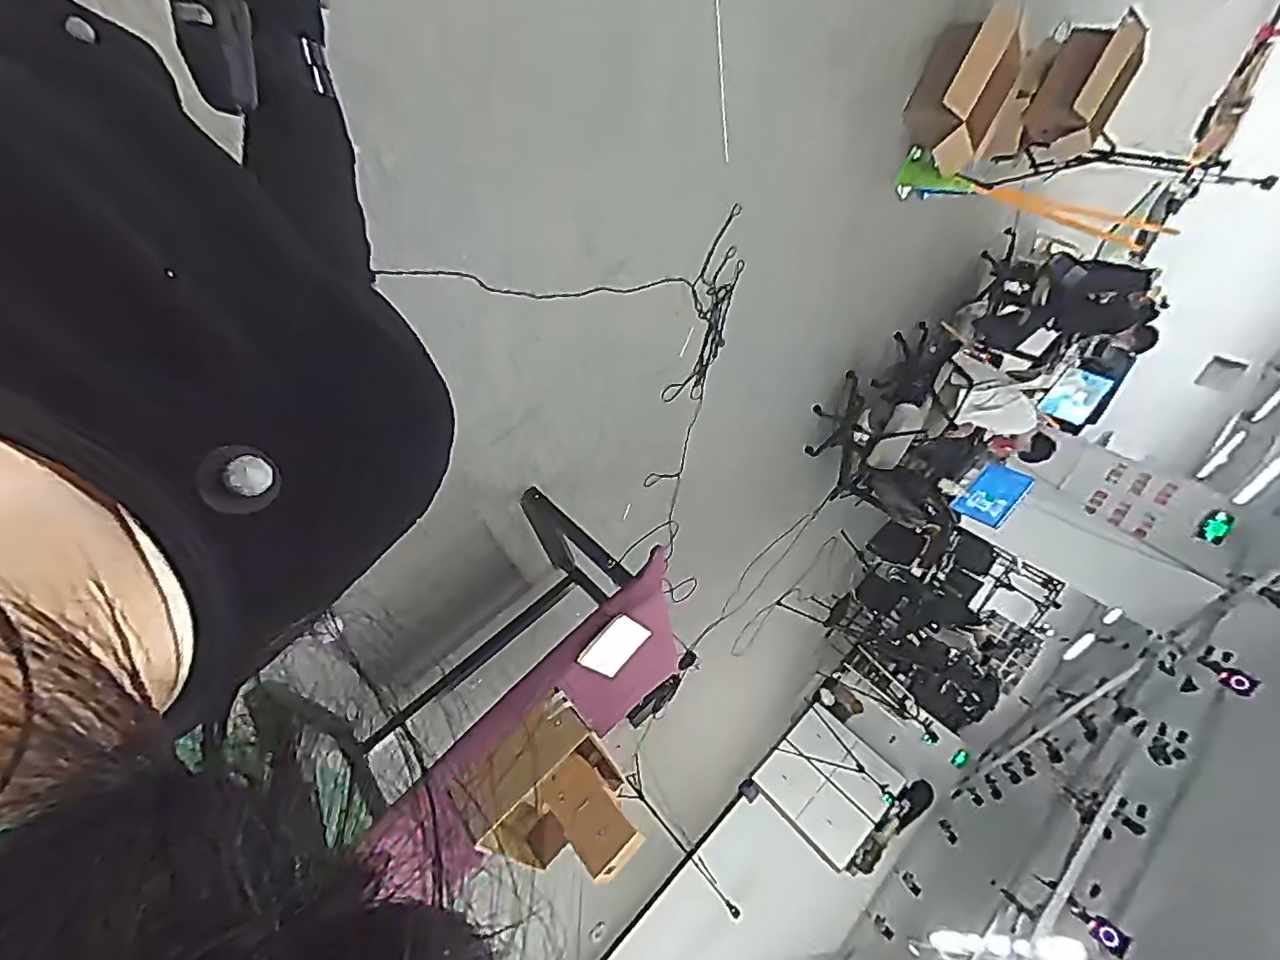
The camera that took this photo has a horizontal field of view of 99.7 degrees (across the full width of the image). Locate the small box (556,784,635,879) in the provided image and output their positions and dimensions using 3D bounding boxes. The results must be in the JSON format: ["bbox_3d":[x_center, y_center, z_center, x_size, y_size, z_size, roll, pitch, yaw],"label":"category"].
[{"bbox_3d":[-0.145,1.109,1.709,0.179,0.176,0.168,-41,144,-20],"label":"small box"}]
